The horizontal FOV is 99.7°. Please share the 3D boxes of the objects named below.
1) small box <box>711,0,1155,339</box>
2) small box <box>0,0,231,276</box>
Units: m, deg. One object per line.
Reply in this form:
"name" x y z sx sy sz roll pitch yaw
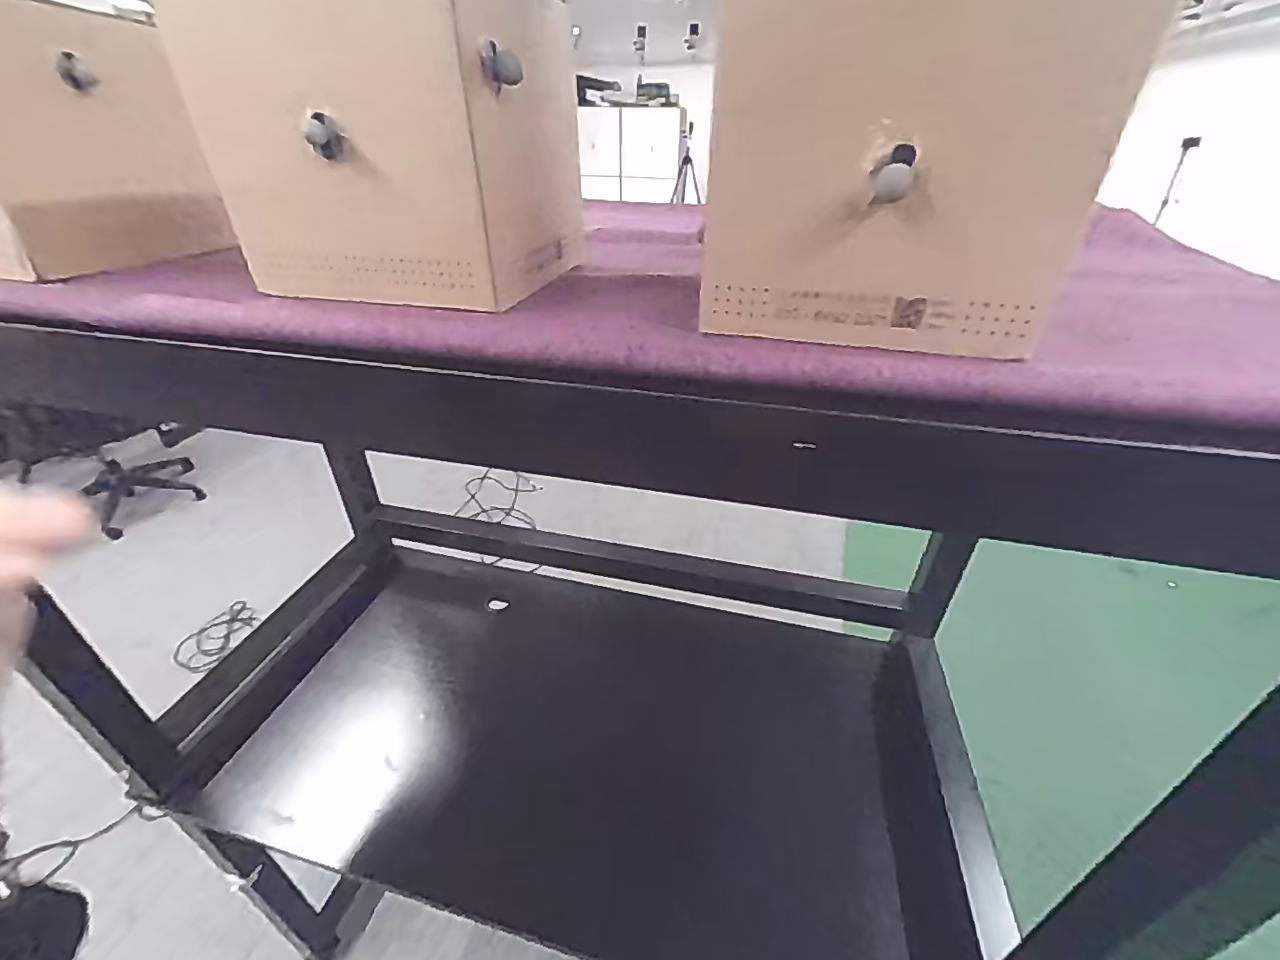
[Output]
"small box" 0.135 -0.188 0.303 0.168 0.176 0.179 9 35 13
"small box" -0.465 -0.267 0.418 0.168 0.176 0.179 7 32 8
